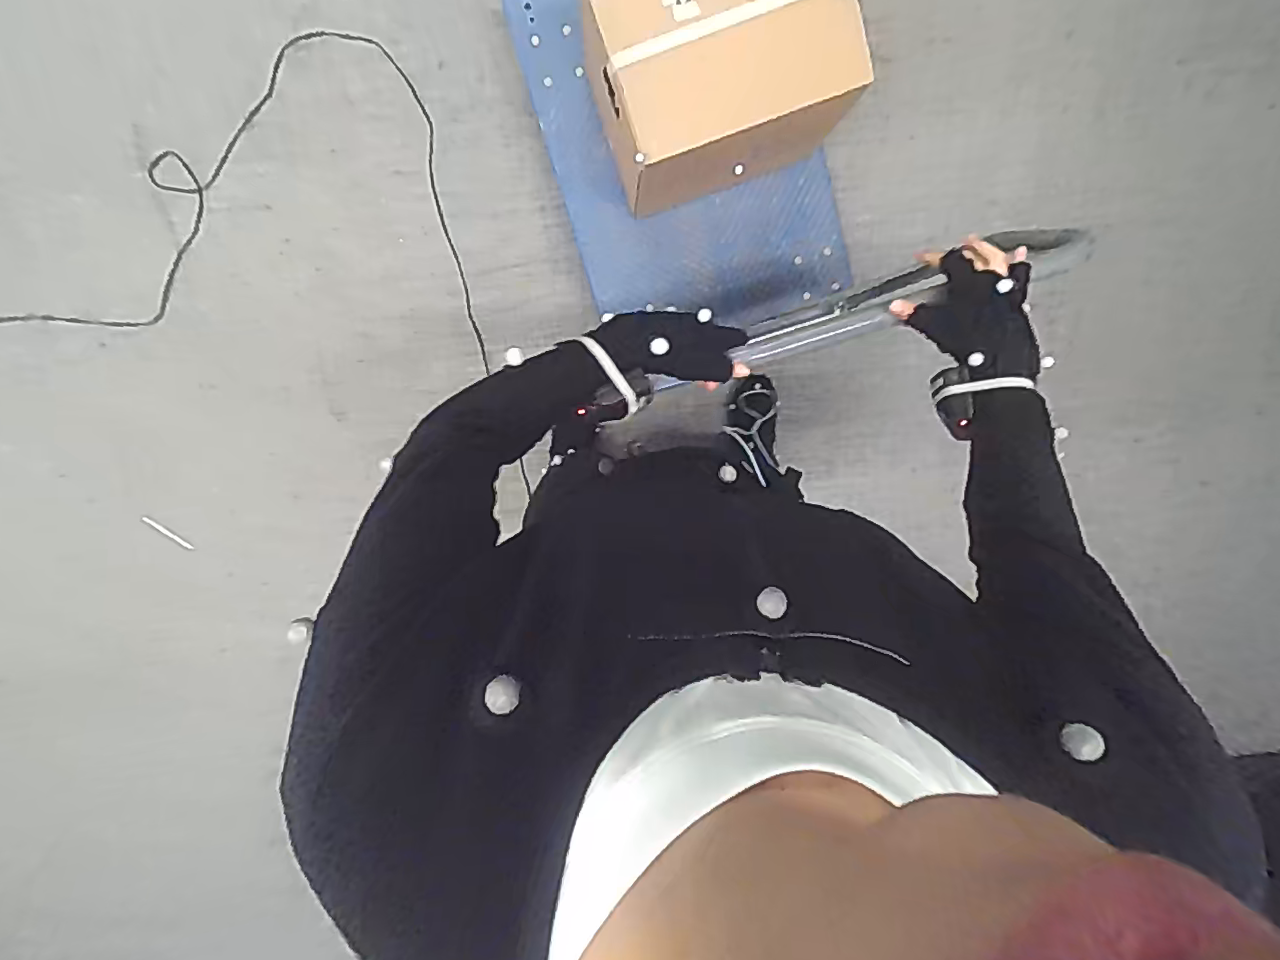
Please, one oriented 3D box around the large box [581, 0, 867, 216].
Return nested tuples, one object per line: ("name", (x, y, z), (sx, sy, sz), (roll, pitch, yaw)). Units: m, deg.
("large box", (0.134, -0.753, 1.008), (0.408, 0.320, 0.320), (-19, 100, 2))
